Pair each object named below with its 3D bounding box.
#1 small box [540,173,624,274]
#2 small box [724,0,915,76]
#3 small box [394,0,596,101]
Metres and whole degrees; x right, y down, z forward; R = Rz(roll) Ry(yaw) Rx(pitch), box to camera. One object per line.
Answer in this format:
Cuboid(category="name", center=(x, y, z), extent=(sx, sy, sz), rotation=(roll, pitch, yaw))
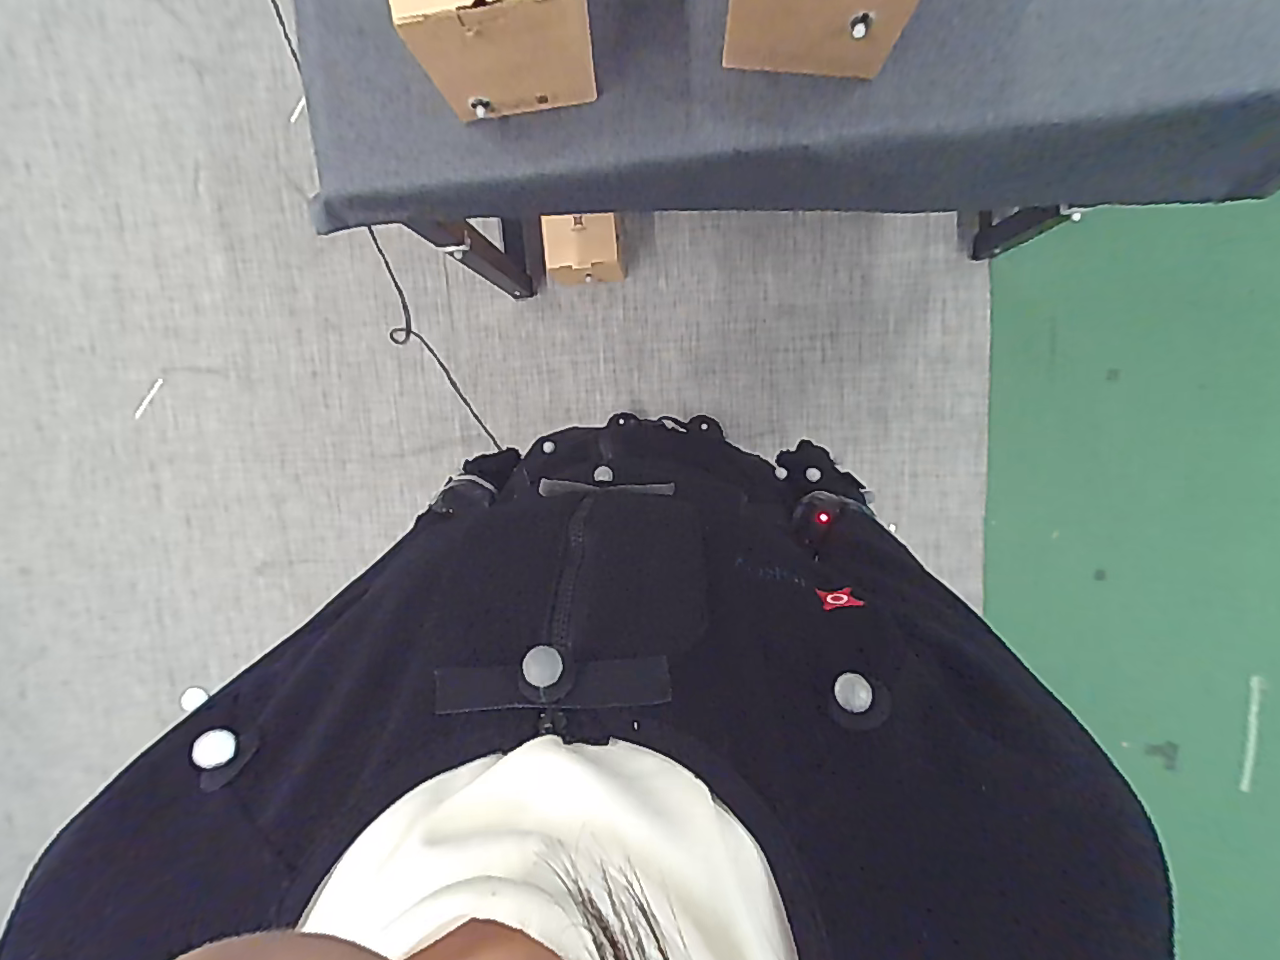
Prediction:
Cuboid(category="small box", center=(-0.132, -0.597, 1.283), extent=(0.168, 0.176, 0.179), rotation=(-3, 98, 4))
Cuboid(category="small box", center=(0.186, -0.538, 0.533), extent=(0.179, 0.176, 0.168), rotation=(7, 97, 4))
Cuboid(category="small box", center=(-0.143, -0.523, 0.554), extent=(0.168, 0.176, 0.179), rotation=(-5, 96, 4))
